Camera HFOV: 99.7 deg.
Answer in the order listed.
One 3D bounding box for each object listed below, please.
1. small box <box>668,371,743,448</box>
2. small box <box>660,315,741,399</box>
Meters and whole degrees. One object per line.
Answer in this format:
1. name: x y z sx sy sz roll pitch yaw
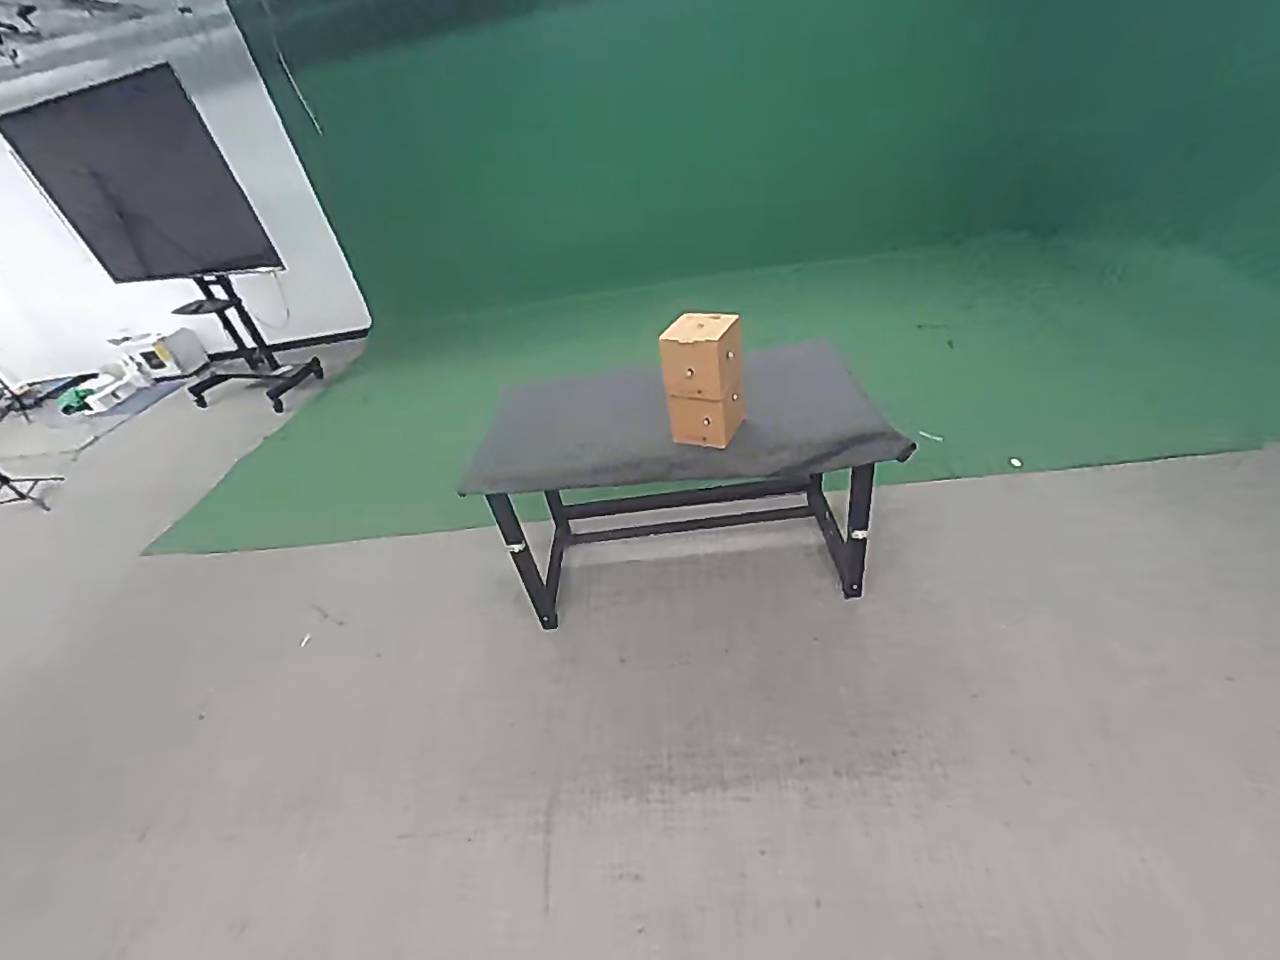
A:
1. small box: 0.199 -0.213 1.581 0.168 0.176 0.179 11 40 26
2. small box: 0.174 -0.336 1.475 0.168 0.176 0.179 11 43 26
